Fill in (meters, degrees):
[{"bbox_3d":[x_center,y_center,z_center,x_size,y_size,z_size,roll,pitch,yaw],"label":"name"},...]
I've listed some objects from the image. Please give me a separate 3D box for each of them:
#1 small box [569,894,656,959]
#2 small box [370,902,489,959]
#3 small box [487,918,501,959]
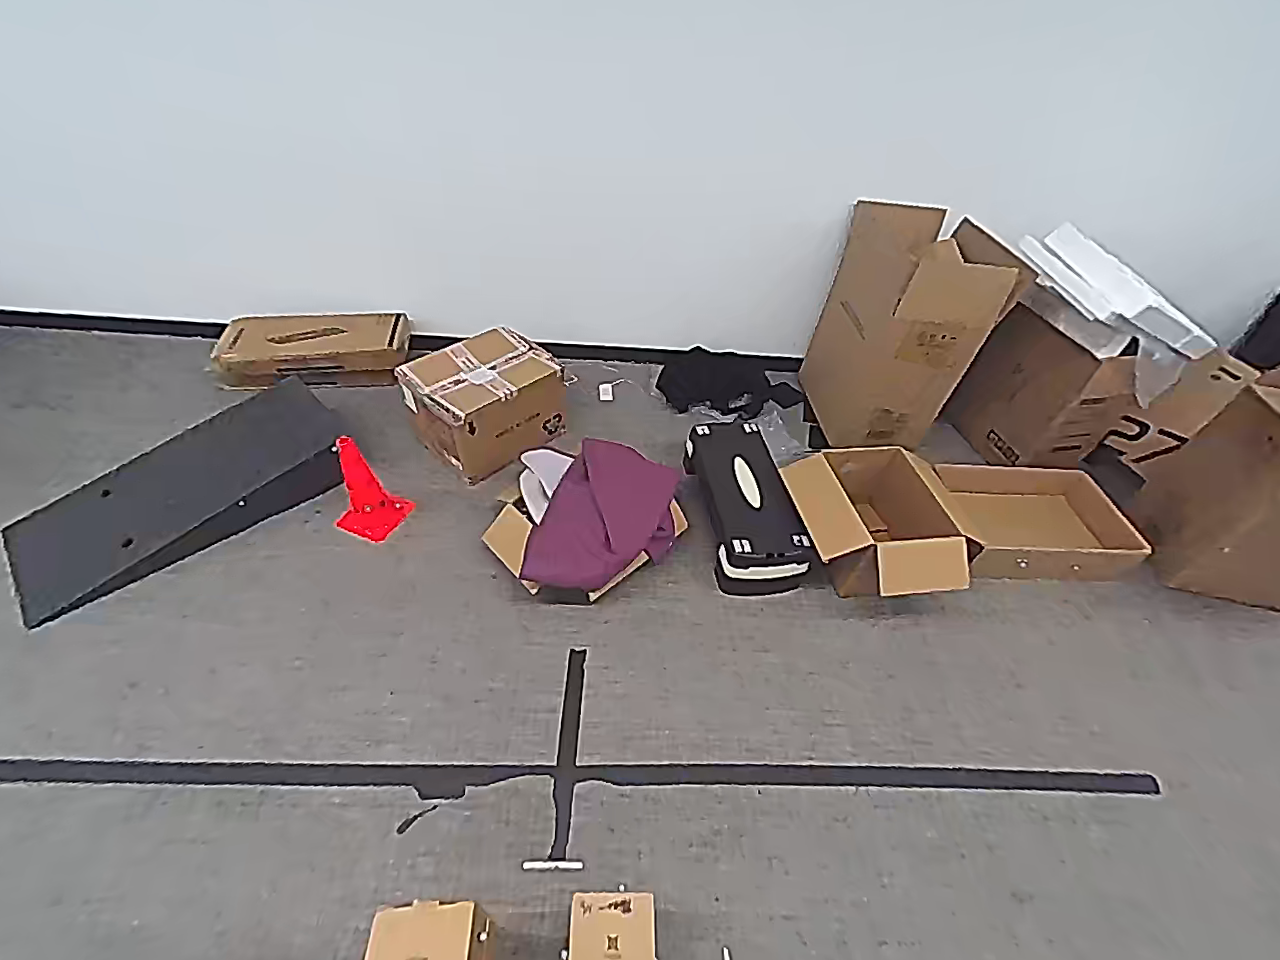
[{"bbox_3d":[-0.055,0.946,1.078,0.168,0.176,0.179,3,45,-3],"label":"small box"},{"bbox_3d":[-0.358,0.844,0.919,0.168,0.176,0.179,-1,47,-4],"label":"small box"},{"bbox_3d":[-0.373,0.957,1.035,0.179,0.176,0.168,2,45,-4],"label":"small box"}]
